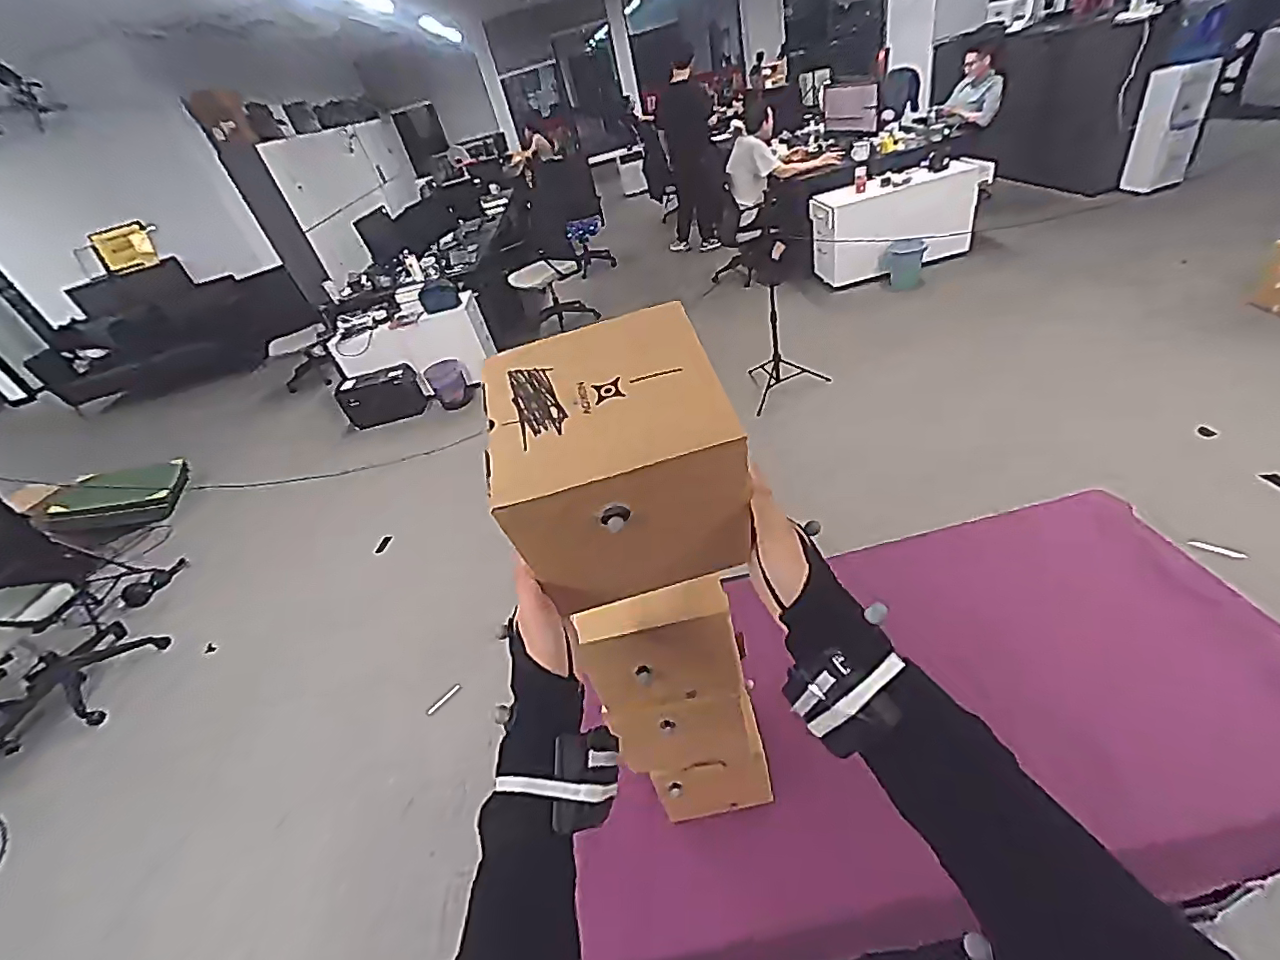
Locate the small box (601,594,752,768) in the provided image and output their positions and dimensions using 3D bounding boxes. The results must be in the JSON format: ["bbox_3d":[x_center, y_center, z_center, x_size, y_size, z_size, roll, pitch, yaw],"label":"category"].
[{"bbox_3d":[0.055,0.290,0.773,0.179,0.176,0.168,-10,37,8],"label":"small box"}]

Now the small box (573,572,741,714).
[{"bbox_3d":[0.021,0.167,0.673,0.168,0.176,0.179,-14,36,3],"label":"small box"}]

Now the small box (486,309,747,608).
[{"bbox_3d":[-0.016,-0.012,0.466,0.179,0.176,0.168,-16,51,-1],"label":"small box"}]
